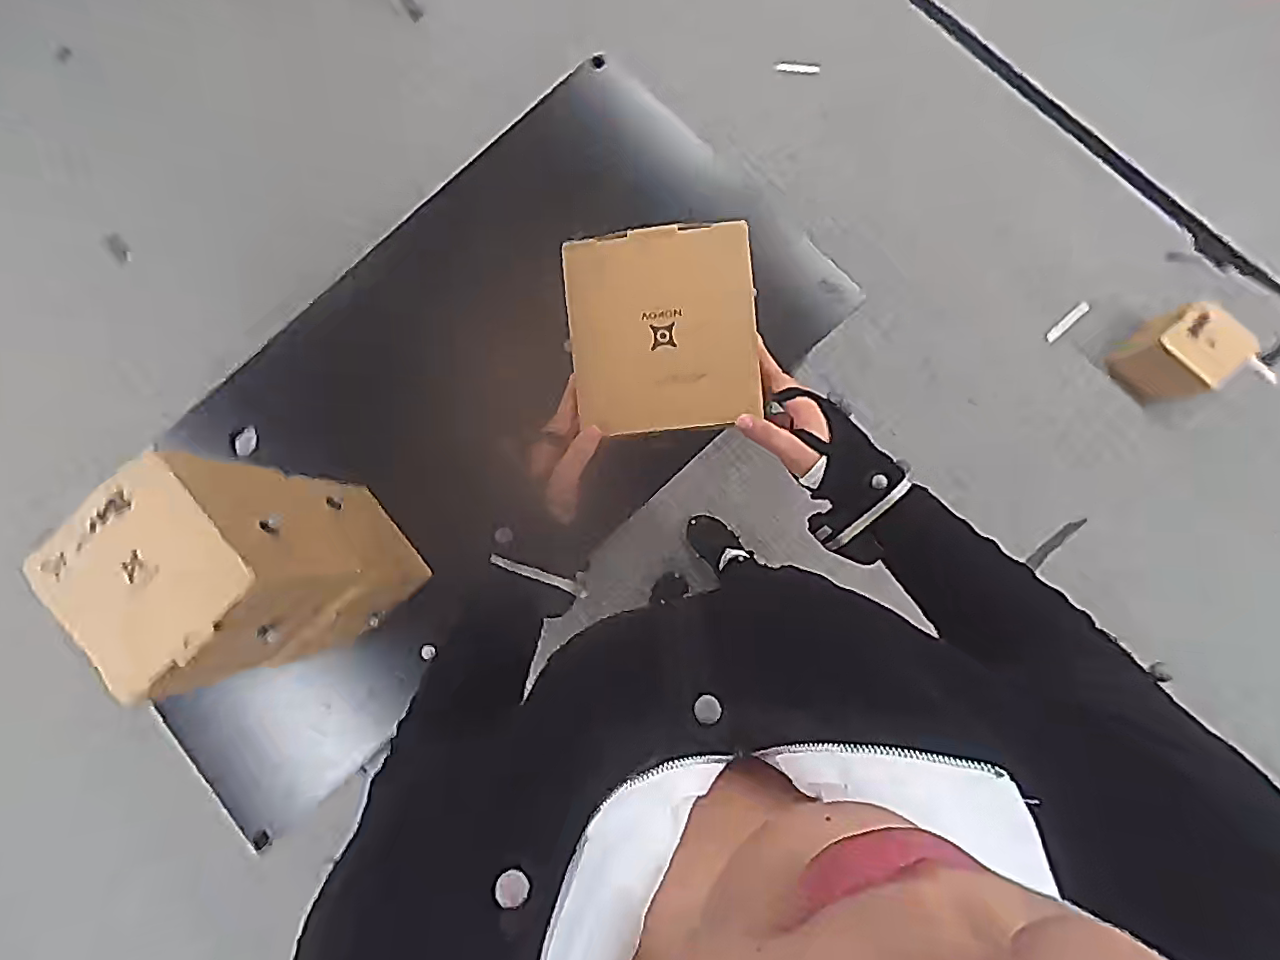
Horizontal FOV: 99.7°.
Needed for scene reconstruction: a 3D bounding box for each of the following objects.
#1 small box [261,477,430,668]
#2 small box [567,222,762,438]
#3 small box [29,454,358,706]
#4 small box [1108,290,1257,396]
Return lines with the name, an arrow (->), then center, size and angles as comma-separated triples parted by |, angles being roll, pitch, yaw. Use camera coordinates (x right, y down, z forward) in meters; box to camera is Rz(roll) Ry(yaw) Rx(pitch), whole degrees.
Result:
small box -> -0.429, 0.121, 0.738 | 0.168, 0.176, 0.179 | -42, 82, -1
small box -> 0.026, -0.137, 0.557 | 0.168, 0.176, 0.179 | -5, 94, 5
small box -> -0.449, 0.097, 0.576 | 0.168, 0.176, 0.179 | -44, 83, -2
small box -> 1.385, -0.344, 1.396 | 0.168, 0.176, 0.179 | -44, 83, -1
